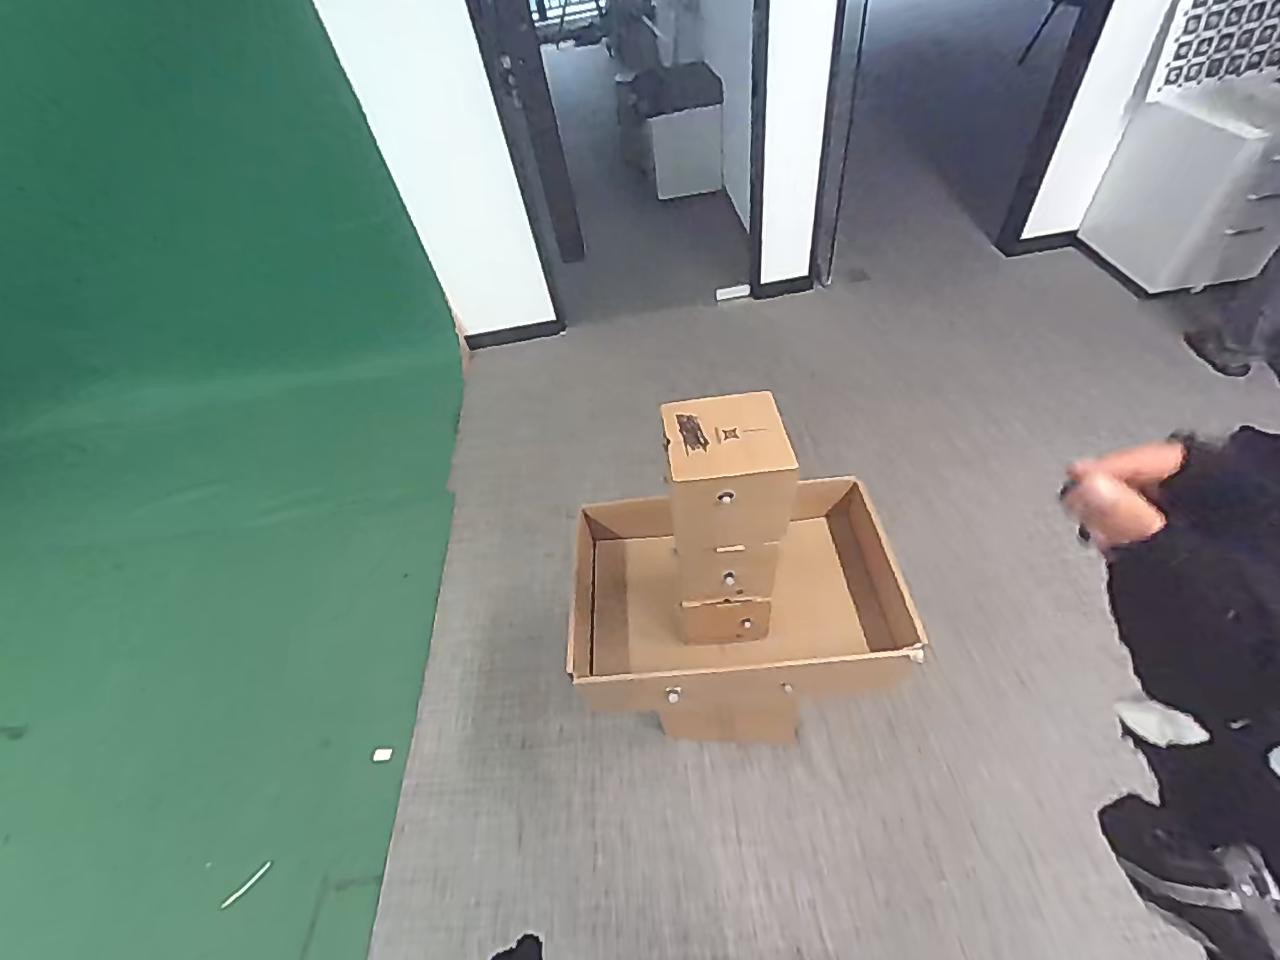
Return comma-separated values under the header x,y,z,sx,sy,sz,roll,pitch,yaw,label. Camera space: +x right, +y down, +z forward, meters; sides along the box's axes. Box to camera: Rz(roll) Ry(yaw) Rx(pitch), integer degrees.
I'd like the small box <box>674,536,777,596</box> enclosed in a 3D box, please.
x,y,z,sx,sy,sz,roll,pitch,yaw,label
0.144,0.097,0.974,0.168,0.176,0.179,-5,49,2,small box

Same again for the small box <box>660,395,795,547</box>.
x,y,z,sx,sy,sz,roll,pitch,yaw,label
0.130,-0.009,0.849,0.179,0.176,0.168,-6,48,1,small box

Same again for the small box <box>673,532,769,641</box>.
x,y,z,sx,sy,sz,roll,pitch,yaw,label
0.160,0.212,1.090,0.168,0.176,0.179,-6,47,2,small box
